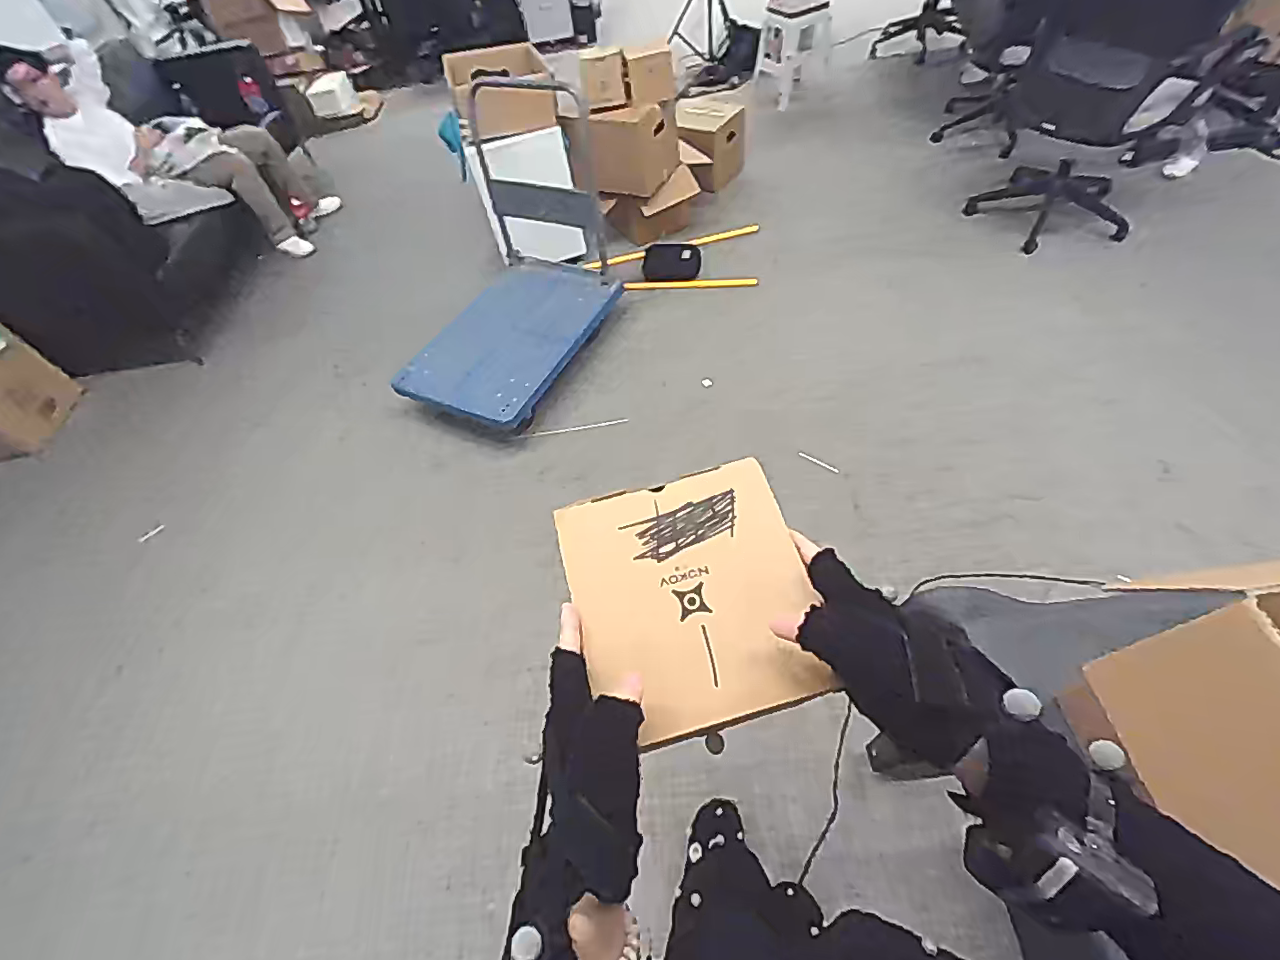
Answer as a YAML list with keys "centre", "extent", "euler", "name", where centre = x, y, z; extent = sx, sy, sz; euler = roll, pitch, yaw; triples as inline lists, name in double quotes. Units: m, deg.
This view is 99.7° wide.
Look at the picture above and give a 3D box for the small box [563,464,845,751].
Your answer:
- centre: [0.039, 0.114, 0.456]
  extent: [0.168, 0.176, 0.179]
  euler: [-13, 63, -4]
  name: "small box"
